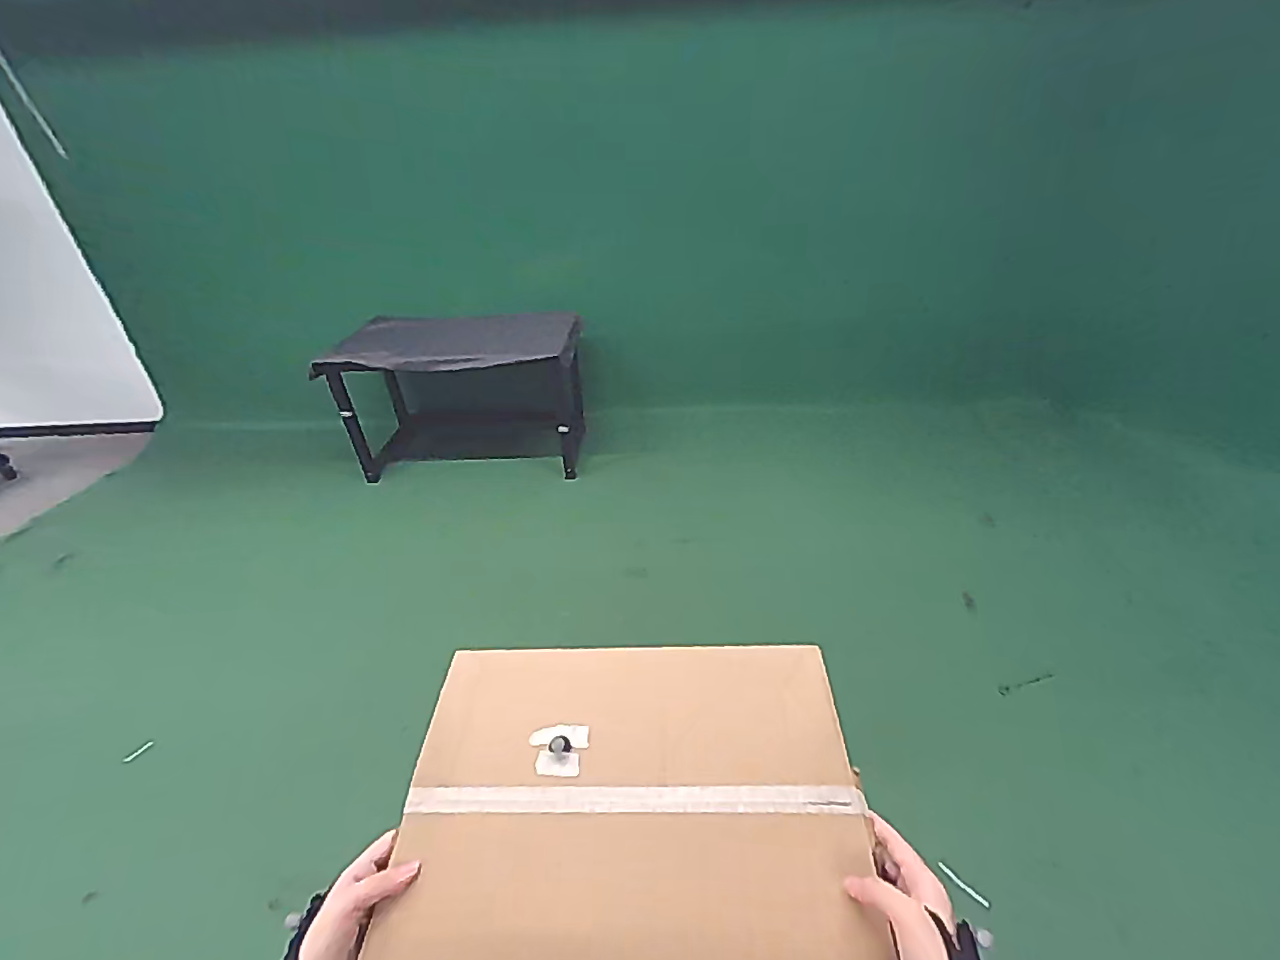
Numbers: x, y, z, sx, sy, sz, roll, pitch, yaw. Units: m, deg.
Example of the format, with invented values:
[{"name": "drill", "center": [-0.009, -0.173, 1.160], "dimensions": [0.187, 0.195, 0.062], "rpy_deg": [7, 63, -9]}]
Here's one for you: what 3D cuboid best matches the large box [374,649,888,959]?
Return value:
[{"name": "large box", "center": [0.004, 0.410, 0.588], "dimensions": [0.408, 0.320, 0.320], "rpy_deg": [-4, 40, 5]}]
